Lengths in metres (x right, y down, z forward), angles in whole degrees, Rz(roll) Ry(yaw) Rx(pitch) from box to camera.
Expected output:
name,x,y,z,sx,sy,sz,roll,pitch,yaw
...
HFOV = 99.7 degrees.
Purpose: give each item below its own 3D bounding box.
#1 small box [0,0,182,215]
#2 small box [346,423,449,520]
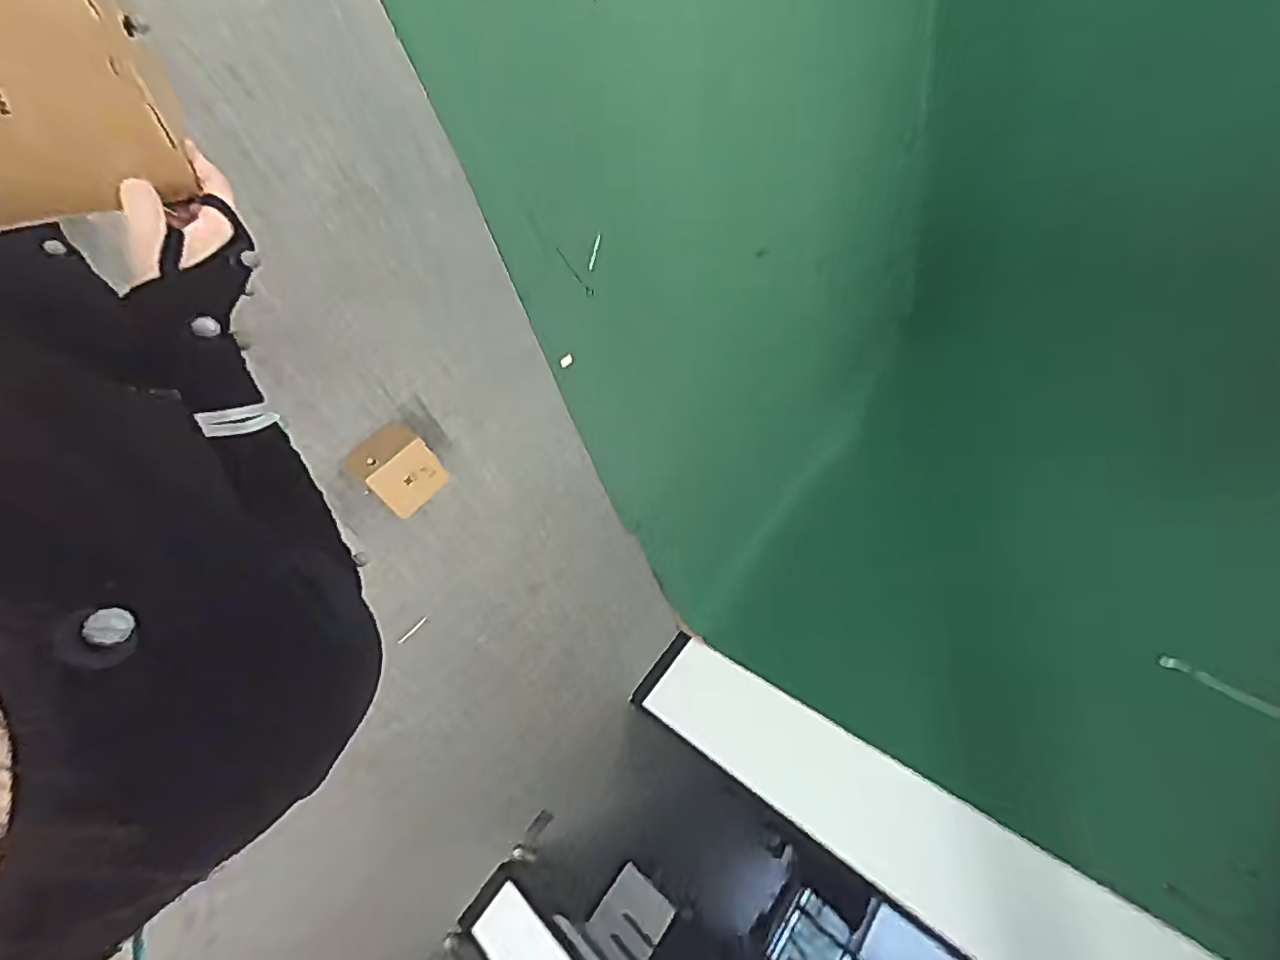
name,x,y,z,sx,sy,sz,roll,pitch,yaw
small box,-0.446,-0.293,0.342,0.179,0.176,0.168,-26,153,-20
small box,-0.670,-0.028,1.479,0.179,0.176,0.168,-46,138,-23
